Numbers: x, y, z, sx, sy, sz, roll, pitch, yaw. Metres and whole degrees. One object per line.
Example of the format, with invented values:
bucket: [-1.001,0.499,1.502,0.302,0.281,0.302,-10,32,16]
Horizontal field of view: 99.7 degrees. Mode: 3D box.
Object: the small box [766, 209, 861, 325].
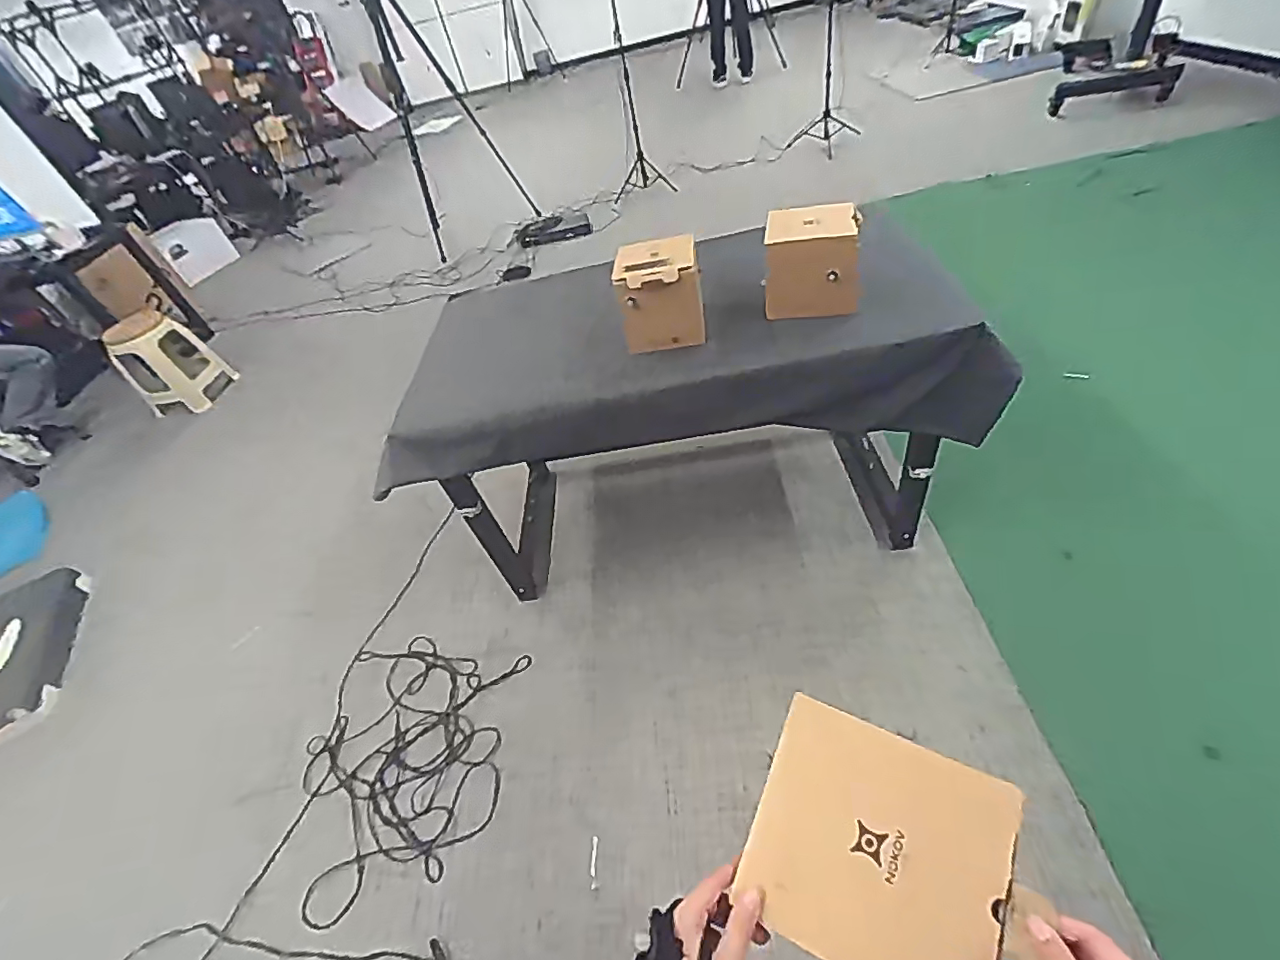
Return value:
small box: [0.362,-0.445,1.141,0.179,0.176,0.168,0,46,17]
